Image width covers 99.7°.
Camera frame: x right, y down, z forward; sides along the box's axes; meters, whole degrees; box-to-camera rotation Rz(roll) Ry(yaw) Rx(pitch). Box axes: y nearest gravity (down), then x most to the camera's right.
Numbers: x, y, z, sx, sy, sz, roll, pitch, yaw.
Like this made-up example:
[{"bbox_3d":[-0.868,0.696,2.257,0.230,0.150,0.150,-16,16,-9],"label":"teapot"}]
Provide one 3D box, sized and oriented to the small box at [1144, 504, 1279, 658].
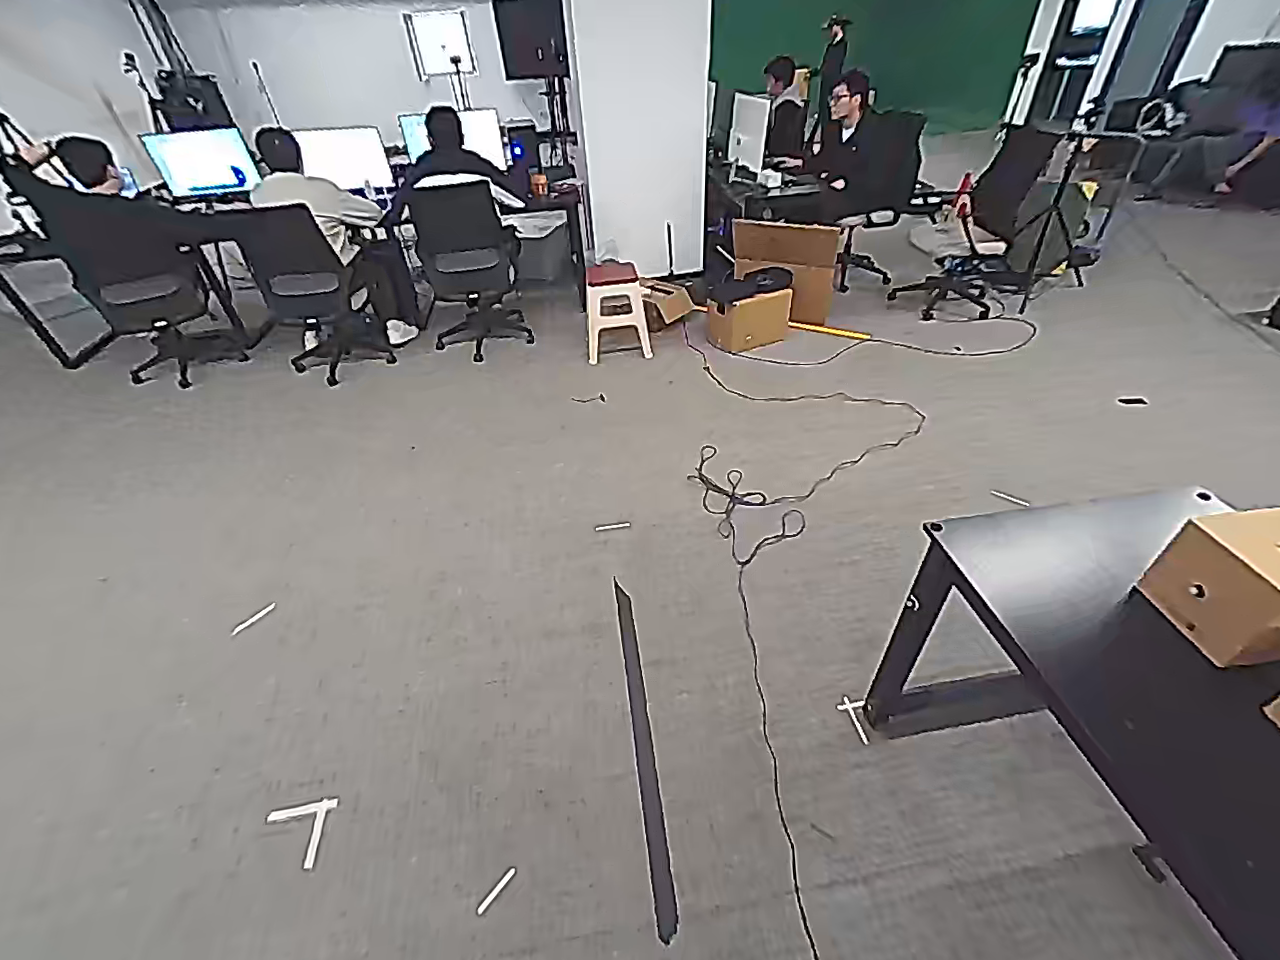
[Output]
[{"bbox_3d":[0.952,0.159,0.844,0.179,0.176,0.168,-6,40,-2],"label":"small box"}]
